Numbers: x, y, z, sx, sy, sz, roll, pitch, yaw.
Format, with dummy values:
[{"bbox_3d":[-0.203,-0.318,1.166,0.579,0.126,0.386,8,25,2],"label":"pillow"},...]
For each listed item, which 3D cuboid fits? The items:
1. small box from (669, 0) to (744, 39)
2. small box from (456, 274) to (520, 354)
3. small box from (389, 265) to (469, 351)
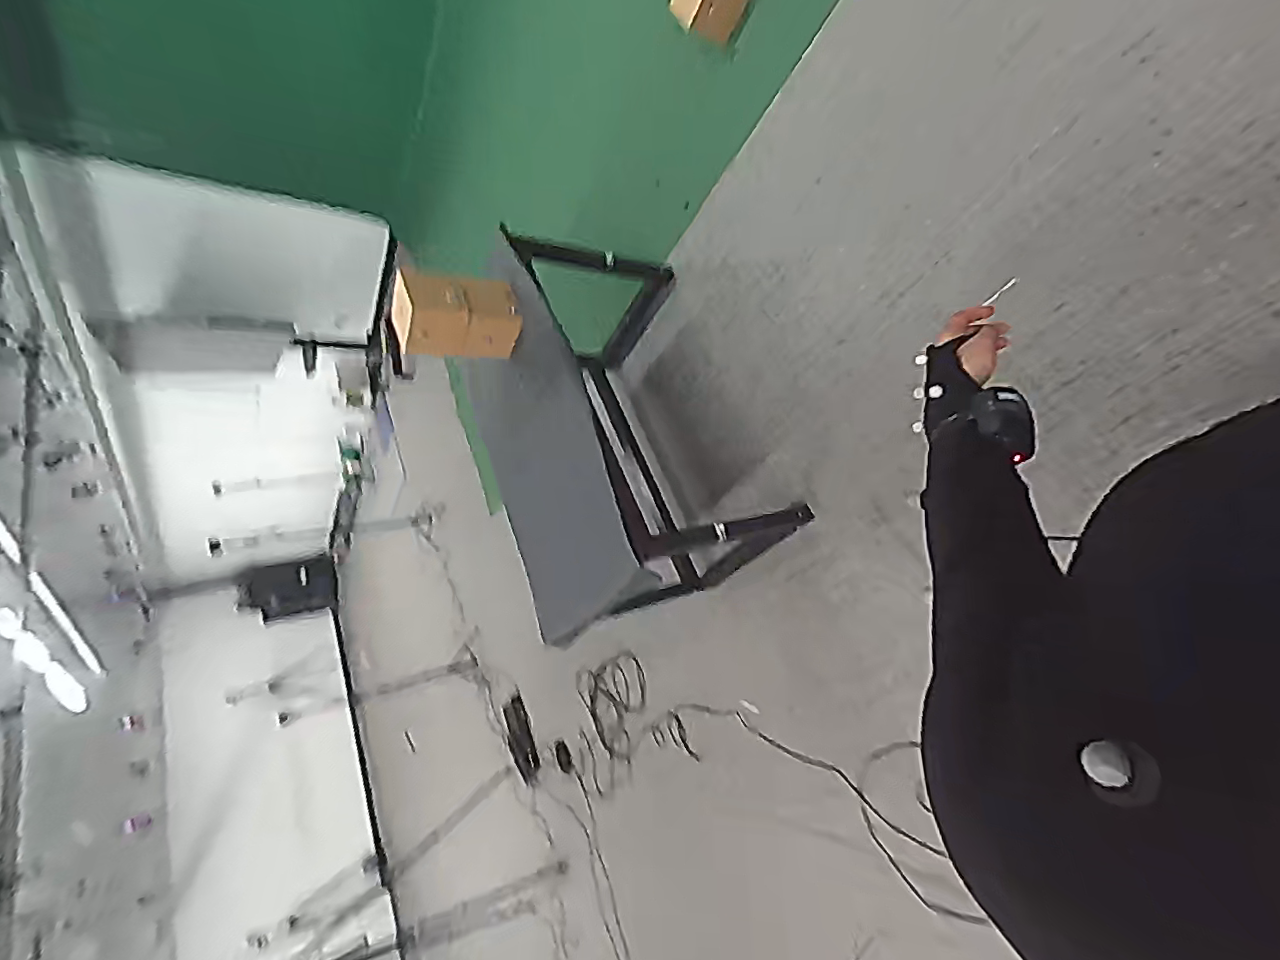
[{"bbox_3d":[0.229,-1.625,1.797,0.179,0.176,0.168,-47,60,43],"label":"small box"},{"bbox_3d":[-0.487,-0.509,1.673,0.179,0.176,0.168,-49,59,47],"label":"small box"},{"bbox_3d":[-0.613,-0.492,1.573,0.179,0.176,0.168,-52,58,43],"label":"small box"}]
